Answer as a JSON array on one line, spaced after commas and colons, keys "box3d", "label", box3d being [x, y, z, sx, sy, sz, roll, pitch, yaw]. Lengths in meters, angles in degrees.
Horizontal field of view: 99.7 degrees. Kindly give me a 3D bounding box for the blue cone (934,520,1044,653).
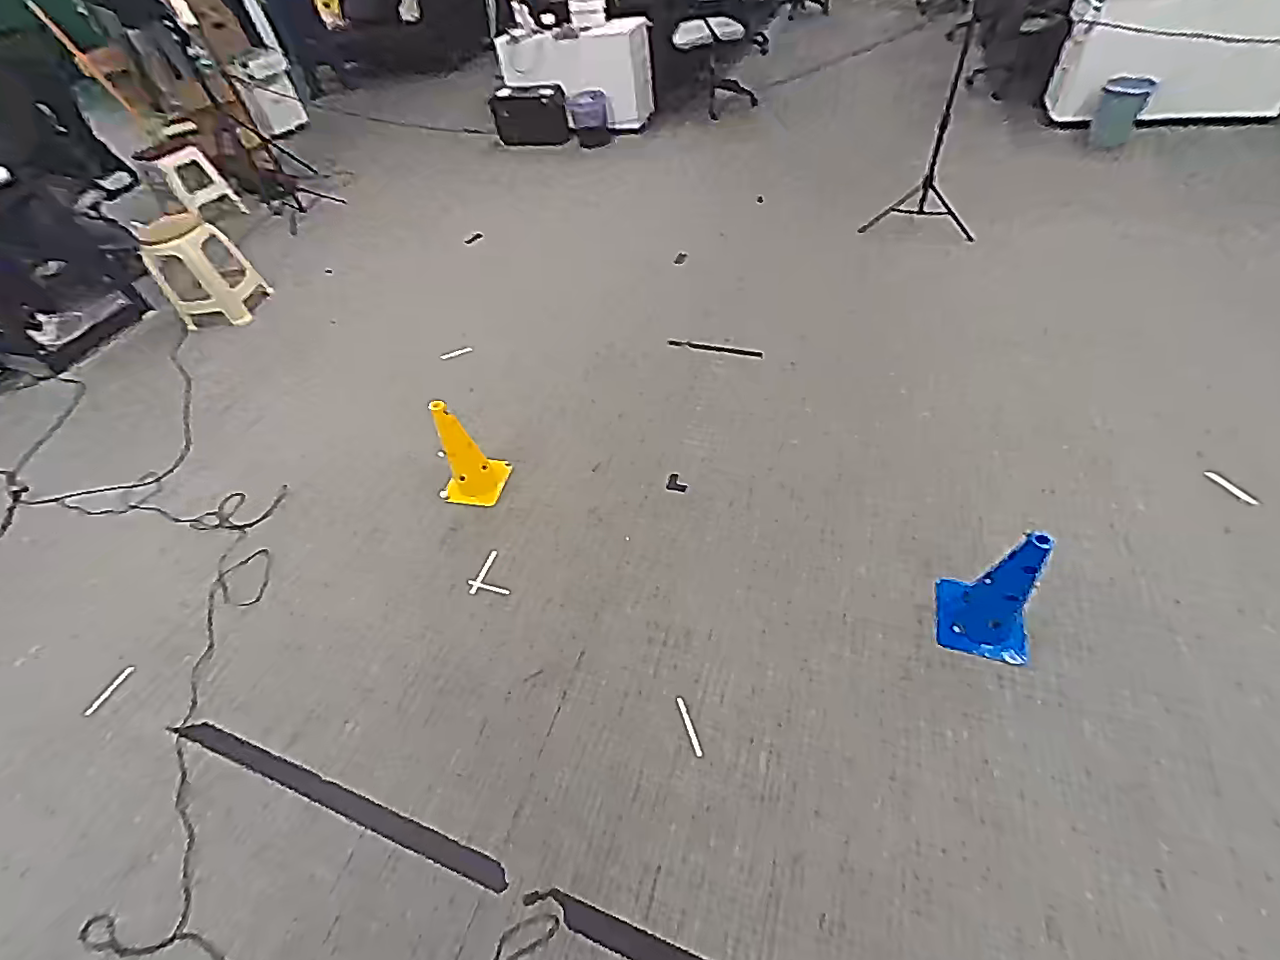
[{"box3d": [0.829, 0.227, 1.240, 0.193, 0.380, 0.192, 11, 51, 18], "label": "blue cone"}]
